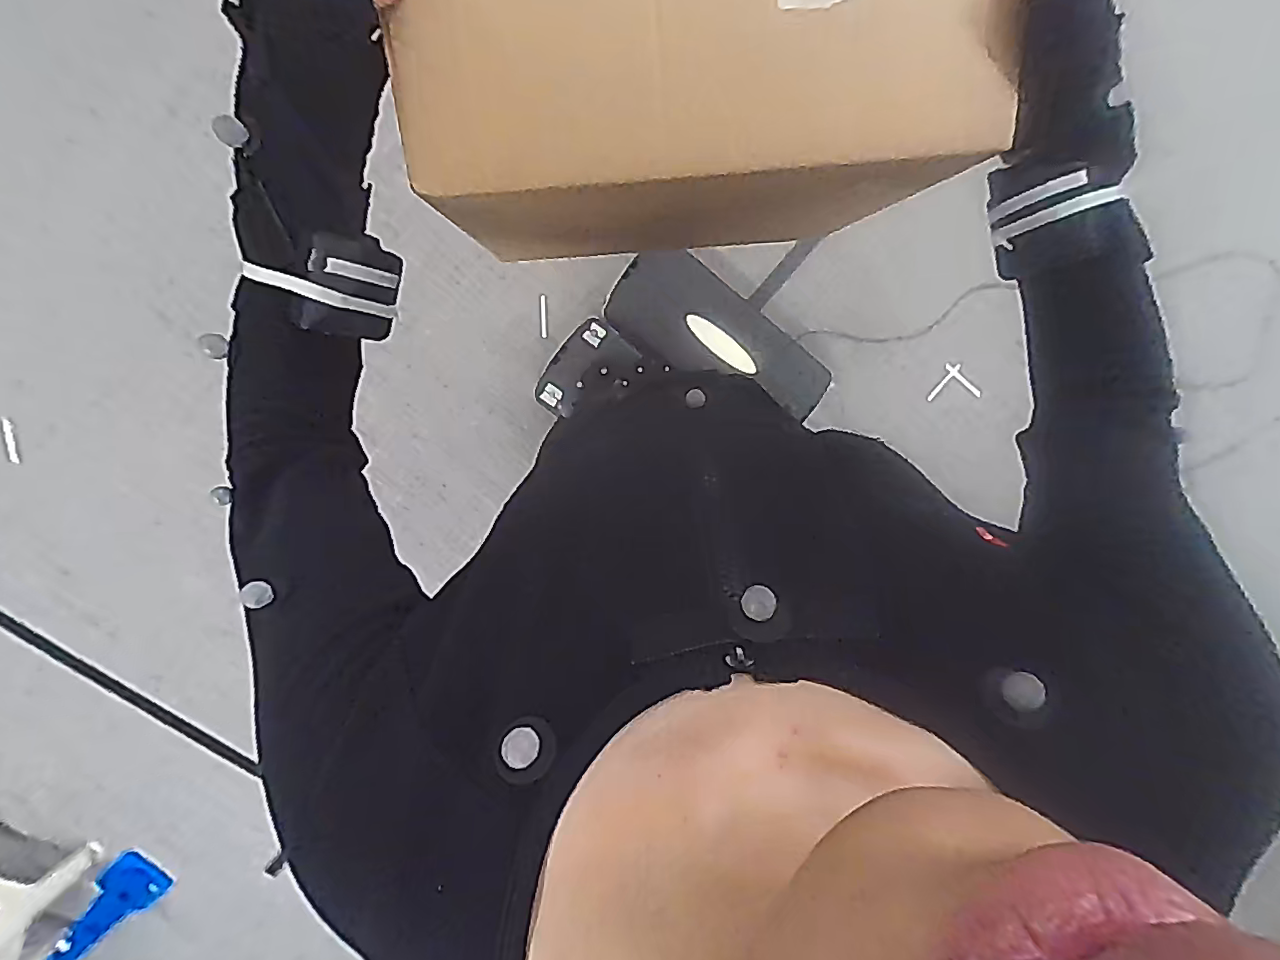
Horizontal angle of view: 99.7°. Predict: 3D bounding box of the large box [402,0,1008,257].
[{"bbox_3d":[0.029,-0.400,0.478,0.408,0.320,0.320,-6,105,-3],"label":"large box"}]
